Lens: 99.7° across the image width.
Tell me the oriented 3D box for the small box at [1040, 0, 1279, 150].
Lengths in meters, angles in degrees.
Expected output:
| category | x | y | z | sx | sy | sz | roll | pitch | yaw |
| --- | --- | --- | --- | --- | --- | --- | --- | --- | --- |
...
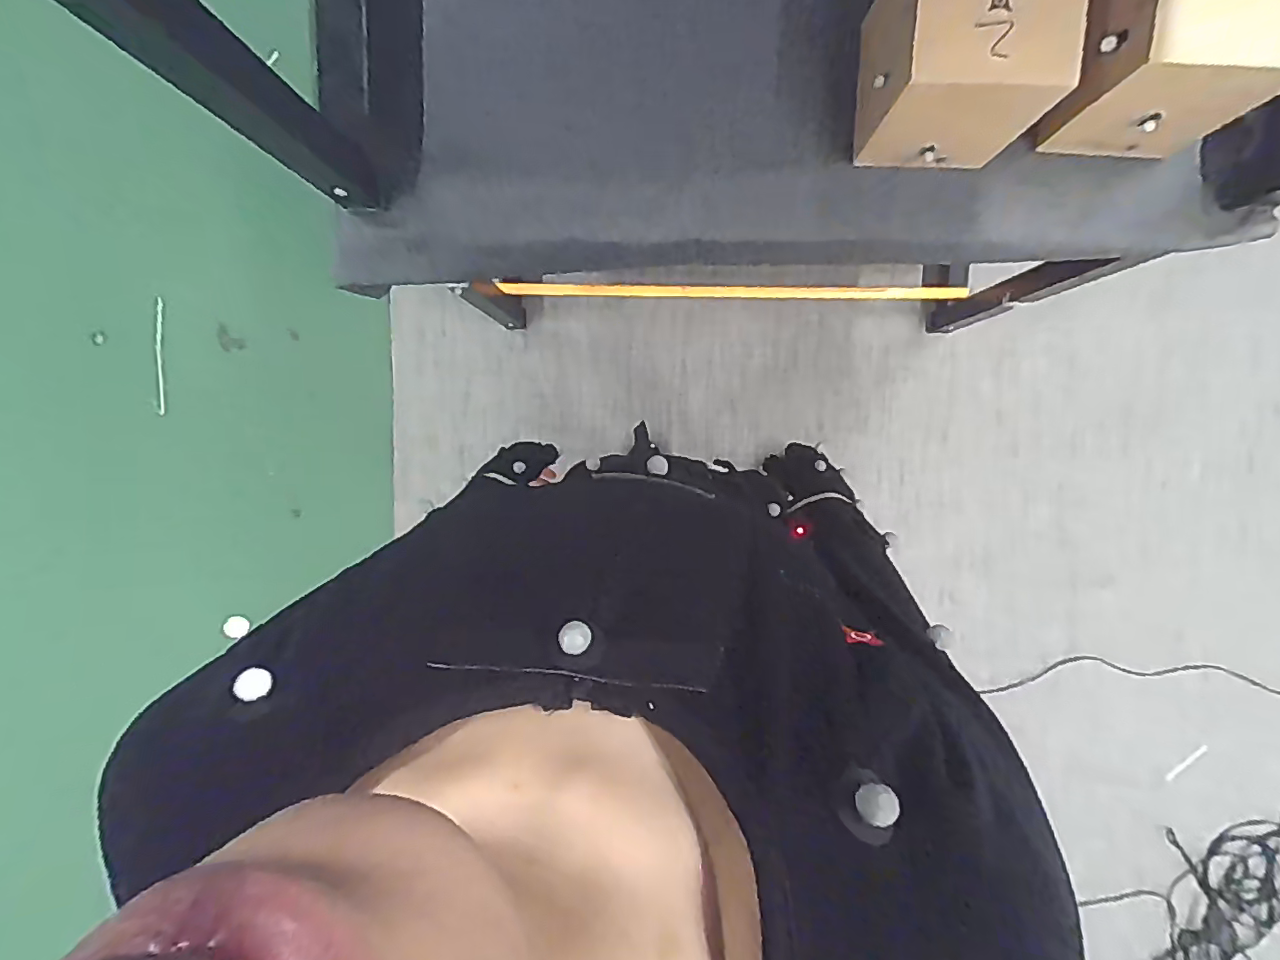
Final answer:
| category | x | y | z | sx | sy | sz | roll | pitch | yaw |
| --- | --- | --- | --- | --- | --- | --- | --- | --- | --- |
| small box | 0.586 | -0.497 | 0.598 | 0.168 | 0.176 | 0.179 | 4 | 94 | 2 |
